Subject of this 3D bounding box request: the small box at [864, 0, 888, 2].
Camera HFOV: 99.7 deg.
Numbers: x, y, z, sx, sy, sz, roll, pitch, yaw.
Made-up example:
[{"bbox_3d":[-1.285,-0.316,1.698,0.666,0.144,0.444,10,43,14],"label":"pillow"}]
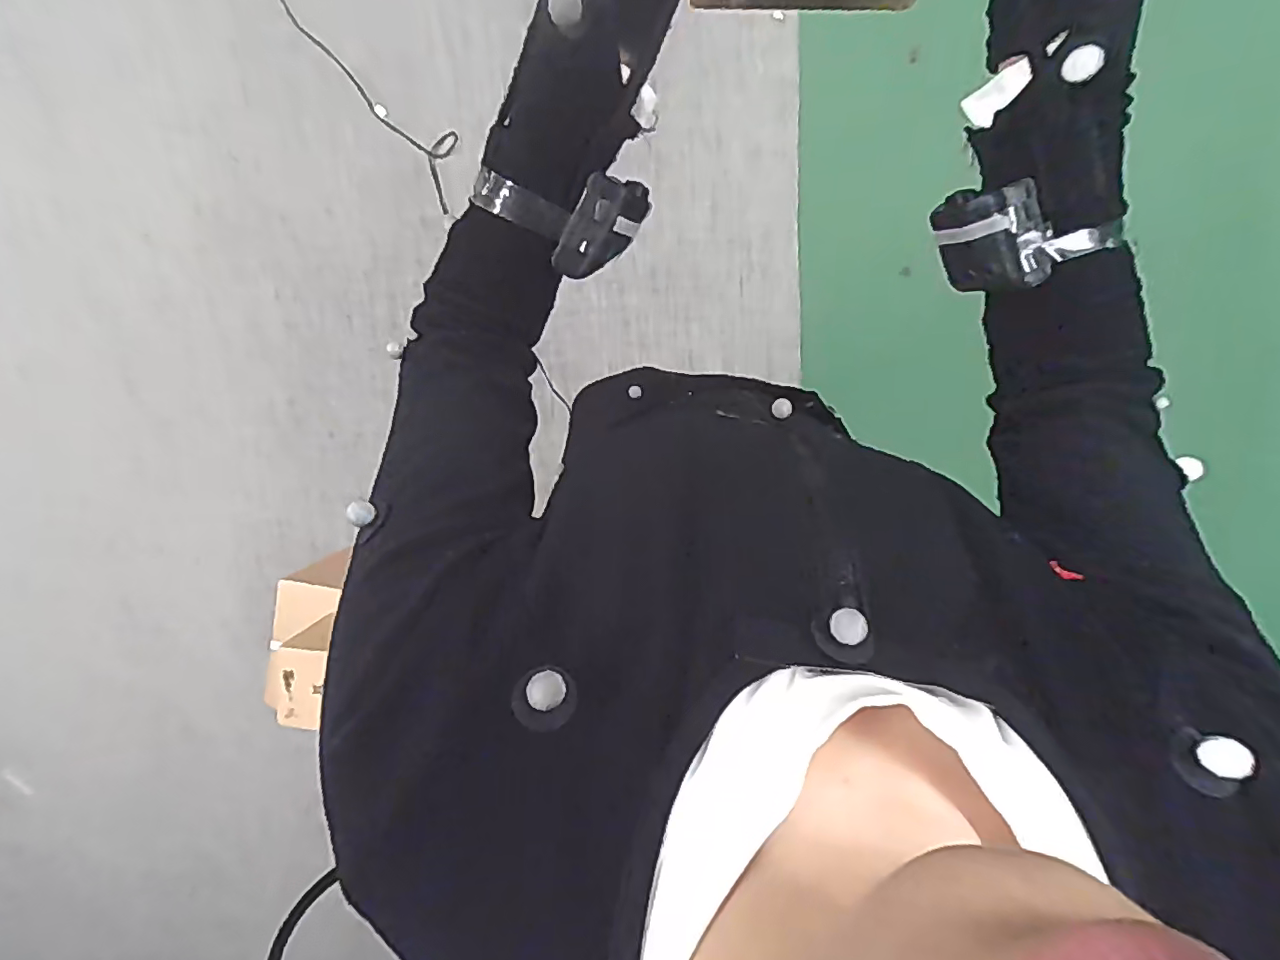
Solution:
[{"bbox_3d":[0.116,-0.416,0.302,0.168,0.176,0.179,0,101,0],"label":"small box"}]
